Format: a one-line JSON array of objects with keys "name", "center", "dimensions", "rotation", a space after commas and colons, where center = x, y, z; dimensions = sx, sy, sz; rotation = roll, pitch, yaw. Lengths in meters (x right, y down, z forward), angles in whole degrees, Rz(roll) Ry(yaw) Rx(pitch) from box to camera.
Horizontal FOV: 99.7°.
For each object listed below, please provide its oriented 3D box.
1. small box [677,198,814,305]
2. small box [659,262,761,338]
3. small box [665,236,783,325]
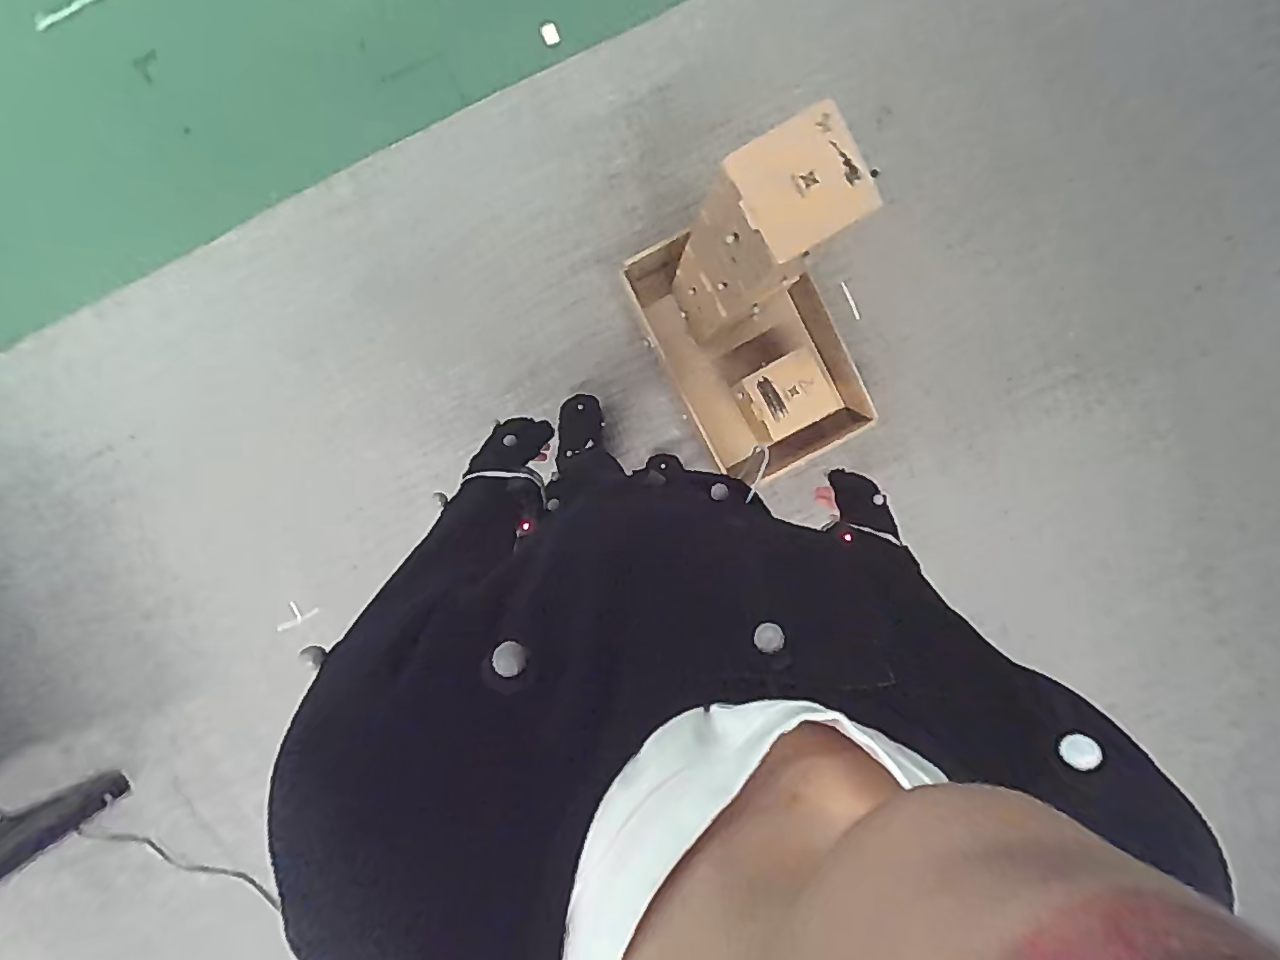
[{"name": "small box", "center": [0.179, -0.443, 0.981], "dimensions": [0.179, 0.176, 0.168], "rotation": [-33, 96, 1]}, {"name": "small box", "center": [0.161, -0.466, 1.307], "dimensions": [0.179, 0.176, 0.168], "rotation": [-30, 95, 1]}, {"name": "small box", "center": [0.169, -0.453, 1.145], "dimensions": [0.179, 0.176, 0.168], "rotation": [-32, 96, 1]}]
